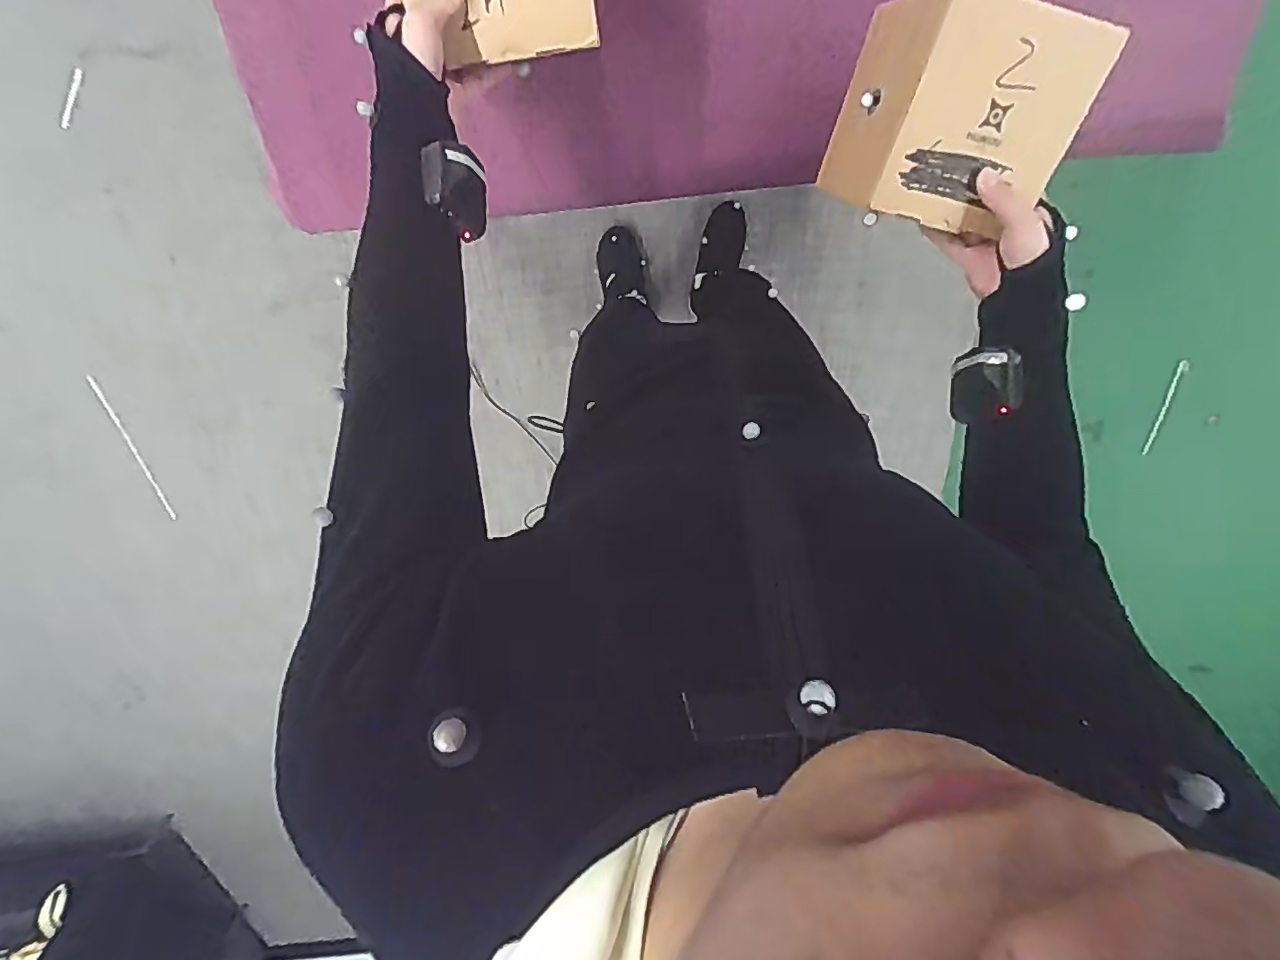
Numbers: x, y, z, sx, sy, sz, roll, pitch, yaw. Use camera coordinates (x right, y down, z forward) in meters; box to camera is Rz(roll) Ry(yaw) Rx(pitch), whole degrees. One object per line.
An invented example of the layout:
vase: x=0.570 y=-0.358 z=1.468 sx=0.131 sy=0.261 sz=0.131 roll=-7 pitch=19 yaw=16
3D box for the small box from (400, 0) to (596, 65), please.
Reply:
small box: x=-0.136 y=-0.500 z=0.498 sx=0.168 sy=0.176 sz=0.179 roll=-7 pitch=129 yaw=-1

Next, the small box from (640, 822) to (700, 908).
small box: x=0.089 y=1.213 z=1.709 sx=0.168 sy=0.176 sz=0.179 roll=2 pitch=118 yaw=-3
